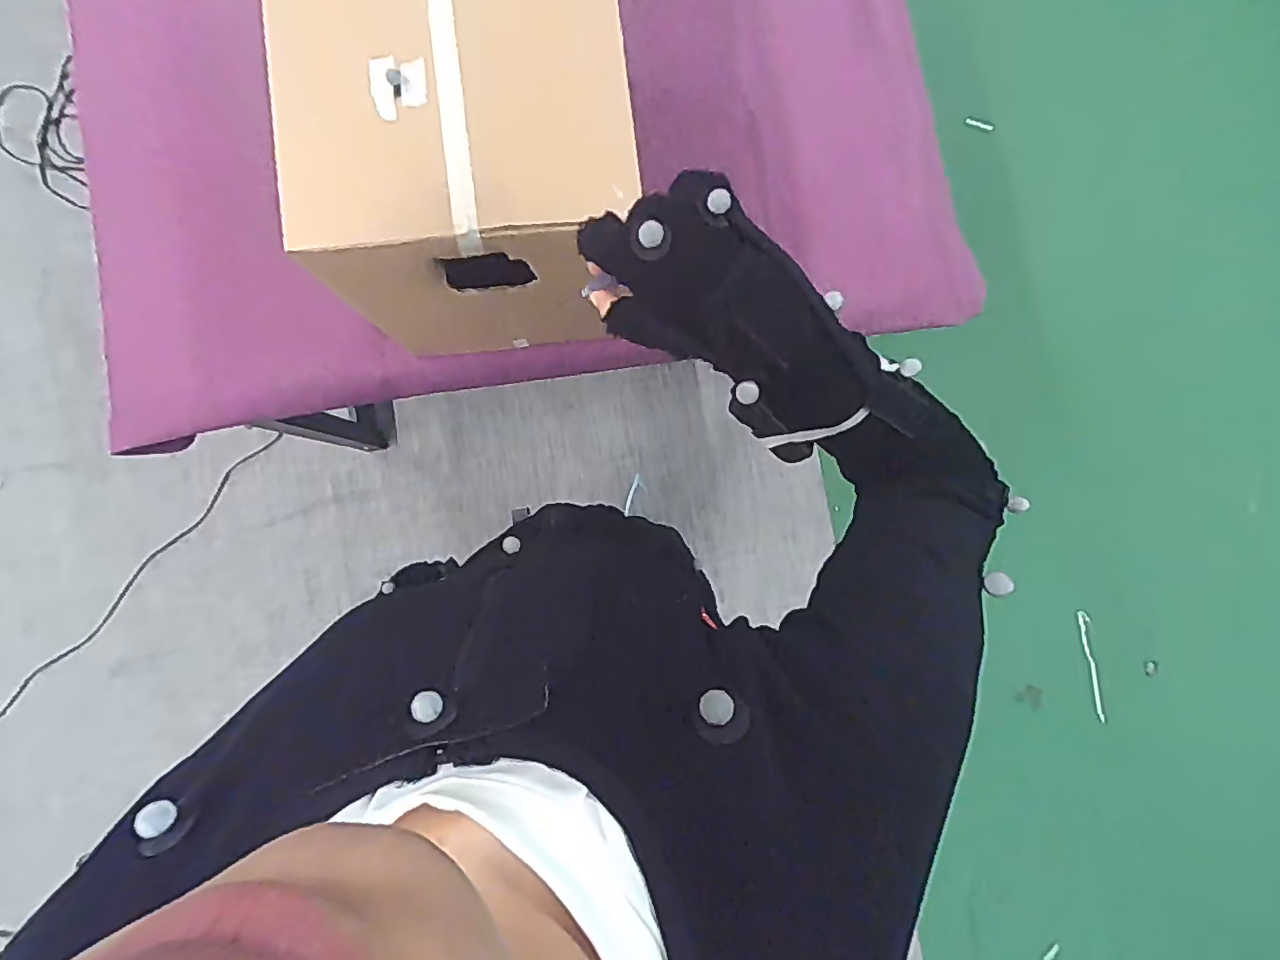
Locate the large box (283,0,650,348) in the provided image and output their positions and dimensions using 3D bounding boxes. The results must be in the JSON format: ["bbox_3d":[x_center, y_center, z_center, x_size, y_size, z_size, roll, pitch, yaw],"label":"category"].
[{"bbox_3d":[-0.178,-0.407,0.646,0.320,0.320,0.408,-6,88,-4],"label":"large box"}]
